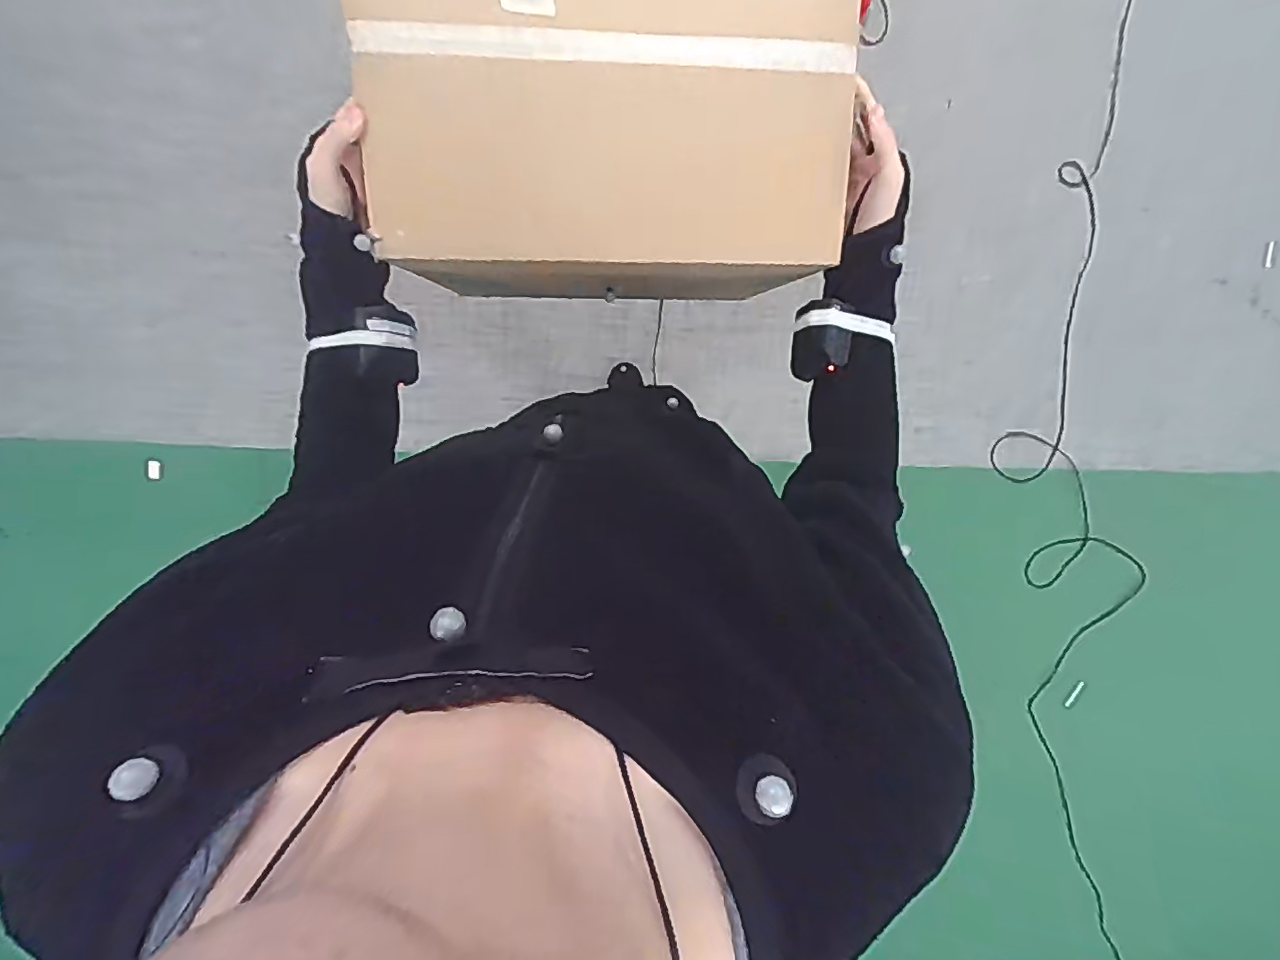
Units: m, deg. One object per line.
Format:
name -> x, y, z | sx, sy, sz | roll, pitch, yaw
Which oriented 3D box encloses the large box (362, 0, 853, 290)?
large box -> -0.030, -0.381, 0.589 | 0.408, 0.320, 0.320 | -1, 103, -4
